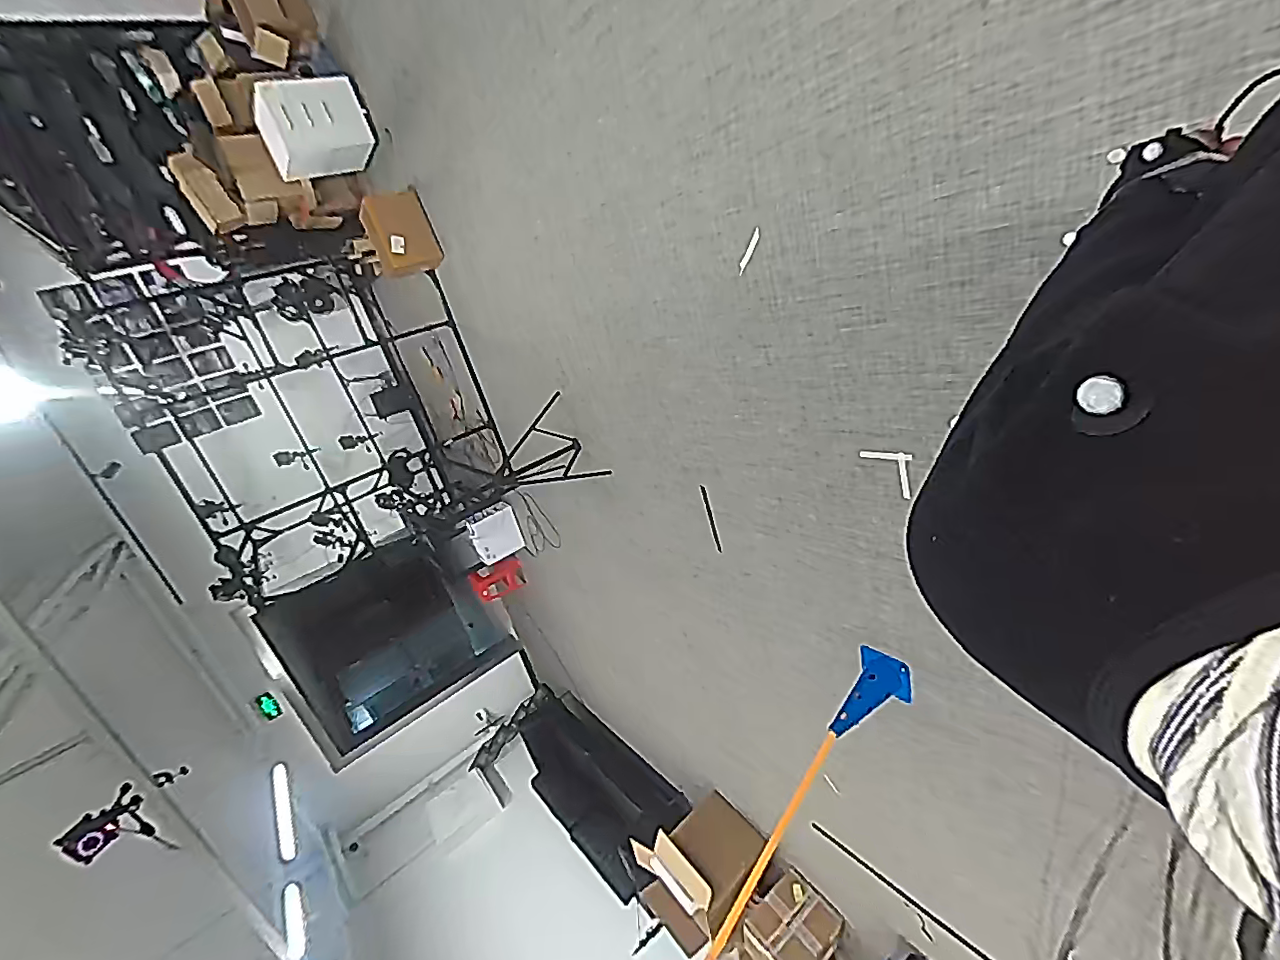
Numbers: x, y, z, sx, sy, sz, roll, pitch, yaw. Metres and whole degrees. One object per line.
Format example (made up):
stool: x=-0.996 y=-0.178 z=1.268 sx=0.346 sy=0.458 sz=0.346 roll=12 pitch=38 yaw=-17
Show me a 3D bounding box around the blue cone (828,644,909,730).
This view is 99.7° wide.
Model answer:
blue cone: x=0.831 y=0.810 z=2.028 sx=0.193 sy=0.380 sz=0.192 roll=18 pitch=130 yaw=50
